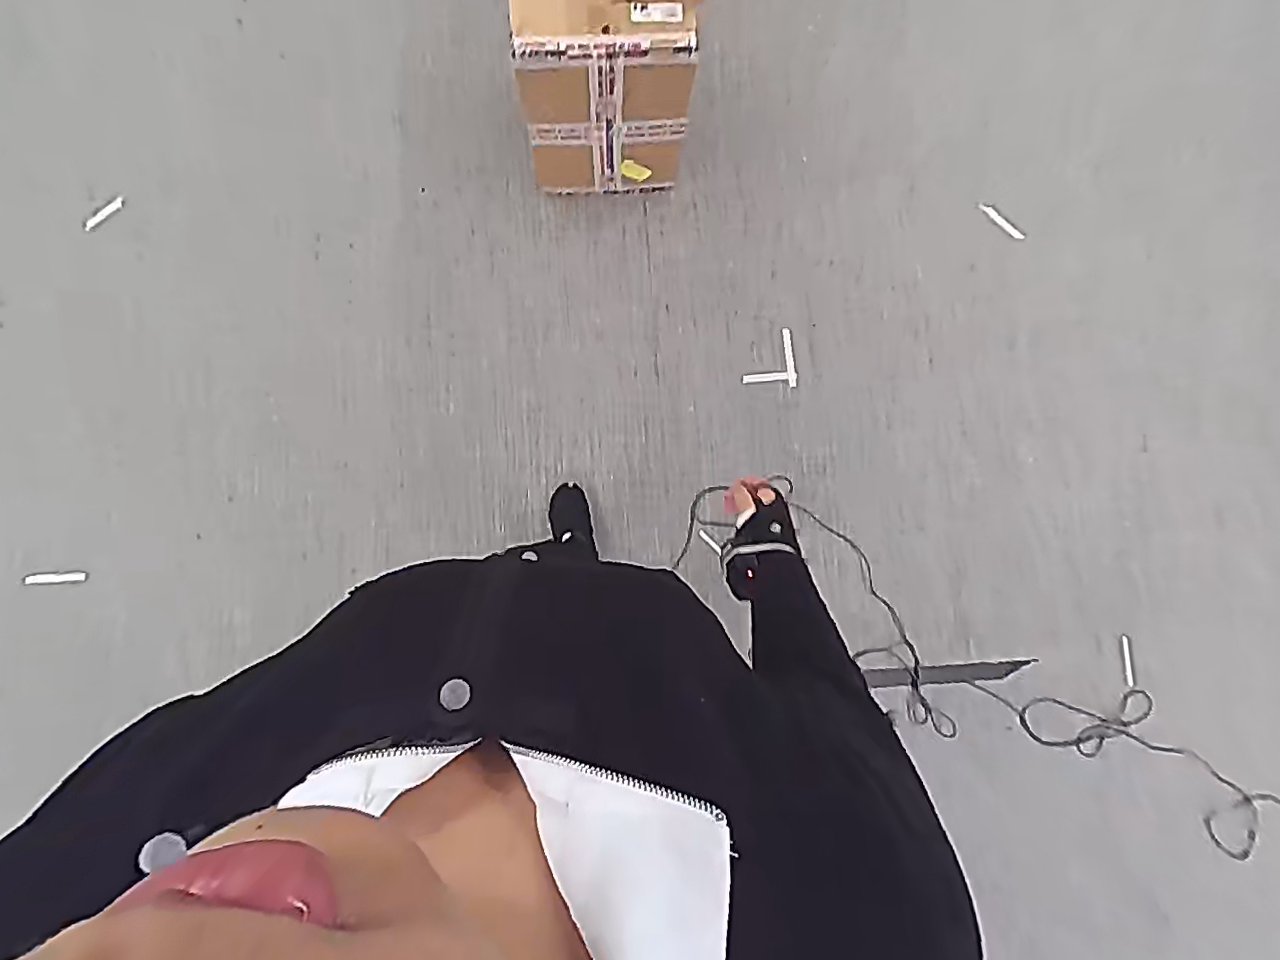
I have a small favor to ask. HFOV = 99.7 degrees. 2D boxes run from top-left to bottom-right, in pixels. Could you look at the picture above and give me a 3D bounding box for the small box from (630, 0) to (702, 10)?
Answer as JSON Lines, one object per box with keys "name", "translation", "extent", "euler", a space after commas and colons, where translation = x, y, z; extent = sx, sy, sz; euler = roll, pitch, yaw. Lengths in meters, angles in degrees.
{"name": "small box", "translation": [0.054, -1.075, 1.049], "extent": [0.168, 0.176, 0.179], "euler": [-1, 87, -5]}
